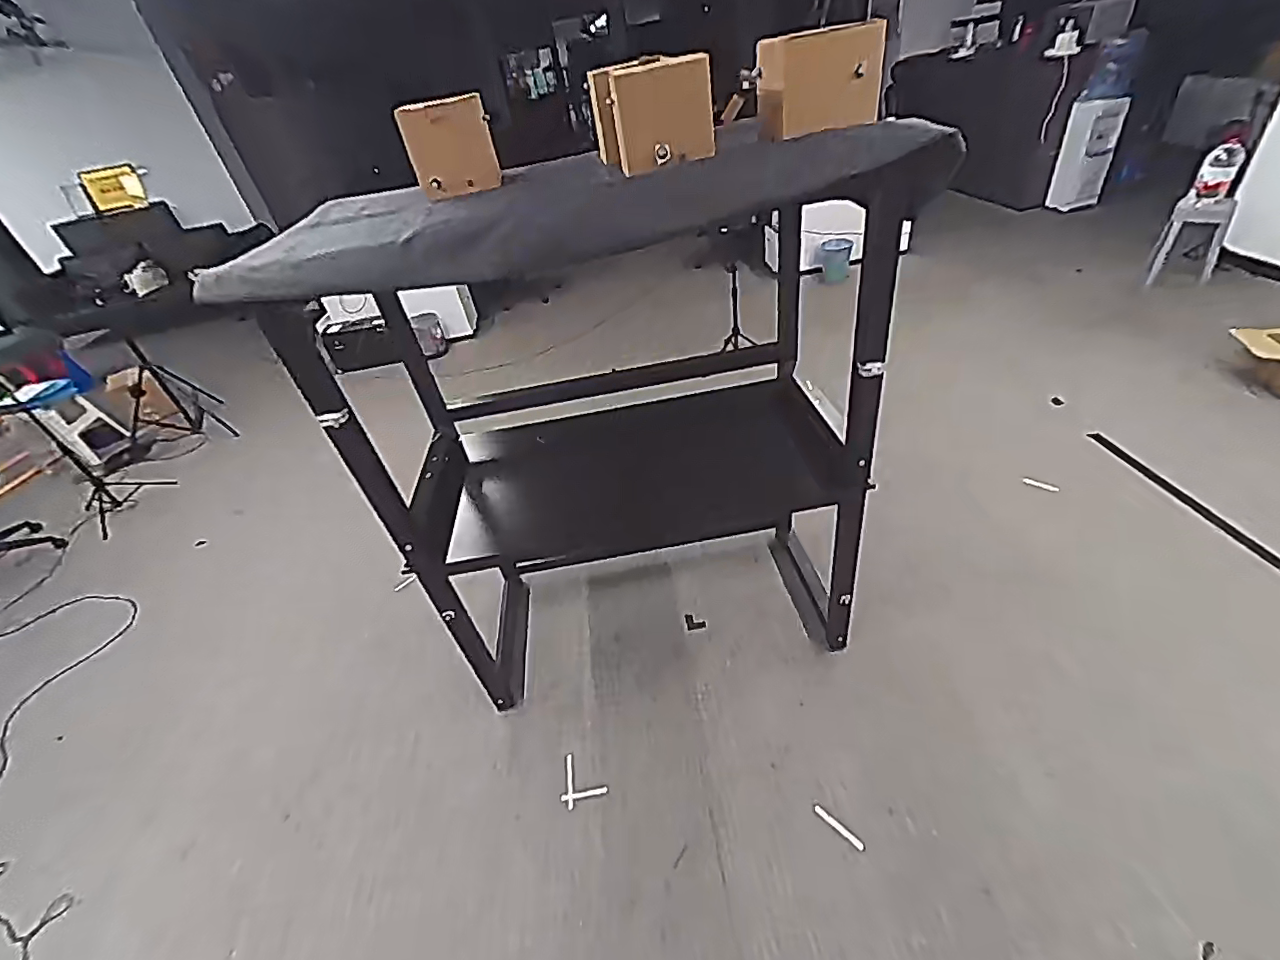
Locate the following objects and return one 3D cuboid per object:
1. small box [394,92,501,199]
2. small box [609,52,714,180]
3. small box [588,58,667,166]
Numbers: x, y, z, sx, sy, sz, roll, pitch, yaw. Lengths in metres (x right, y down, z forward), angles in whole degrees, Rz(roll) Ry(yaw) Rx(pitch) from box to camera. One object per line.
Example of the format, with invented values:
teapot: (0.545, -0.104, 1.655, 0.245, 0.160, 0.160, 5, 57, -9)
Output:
small box: (-0.411, -0.730, 1.185, 0.168, 0.176, 0.179, -13, 38, -3)
small box: (0.039, -0.672, 1.005, 0.168, 0.176, 0.179, -11, 37, 2)
small box: (-0.012, -0.813, 1.194, 0.179, 0.176, 0.168, -11, 38, -1)
